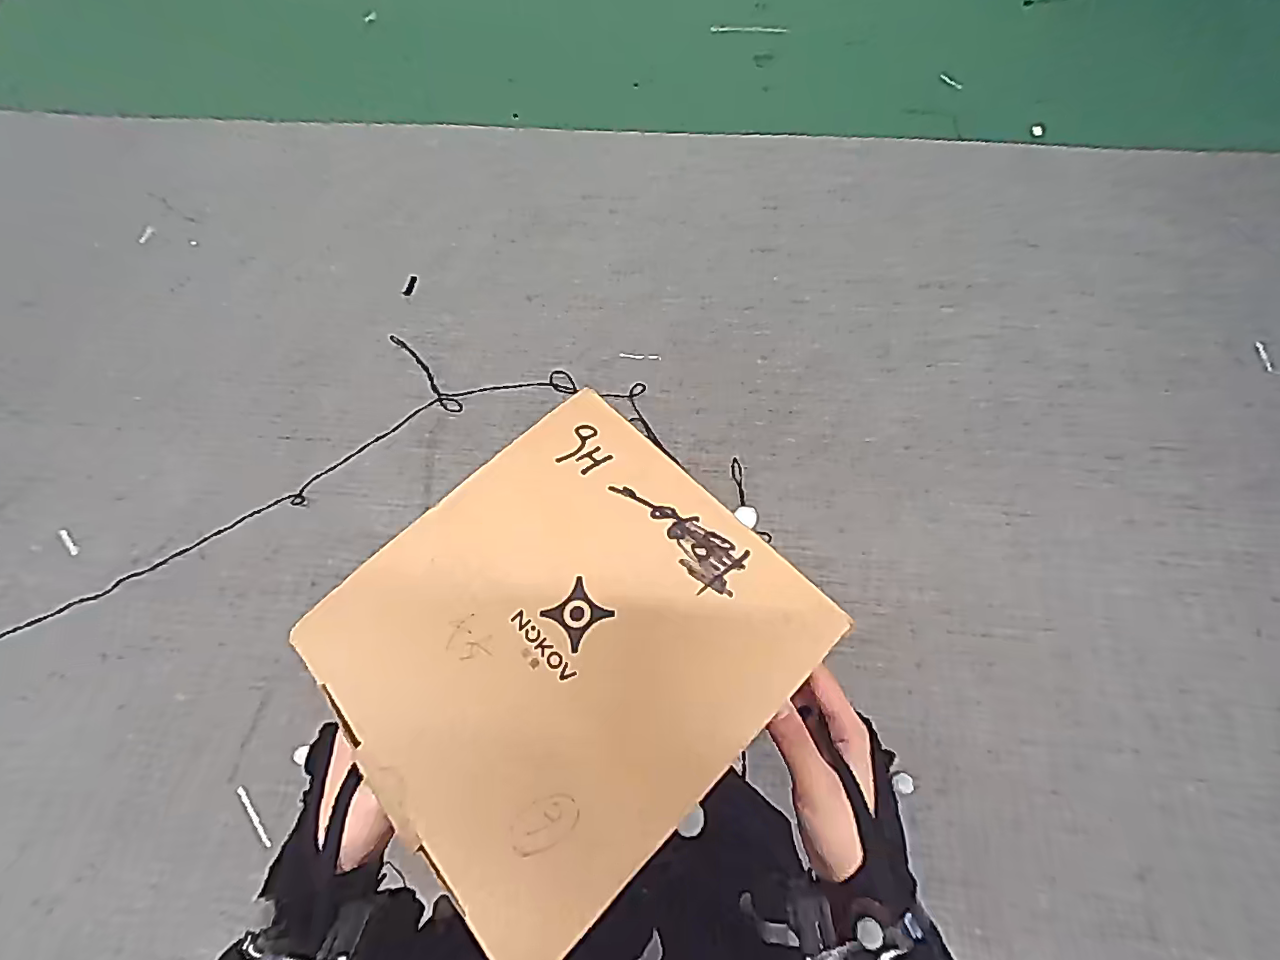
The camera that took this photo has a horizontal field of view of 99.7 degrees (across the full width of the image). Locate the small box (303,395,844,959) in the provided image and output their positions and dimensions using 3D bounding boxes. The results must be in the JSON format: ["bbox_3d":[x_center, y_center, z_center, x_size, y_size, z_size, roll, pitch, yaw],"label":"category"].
[{"bbox_3d":[-0.024,0.096,0.297,0.179,0.176,0.168,-42,68,-13],"label":"small box"}]
